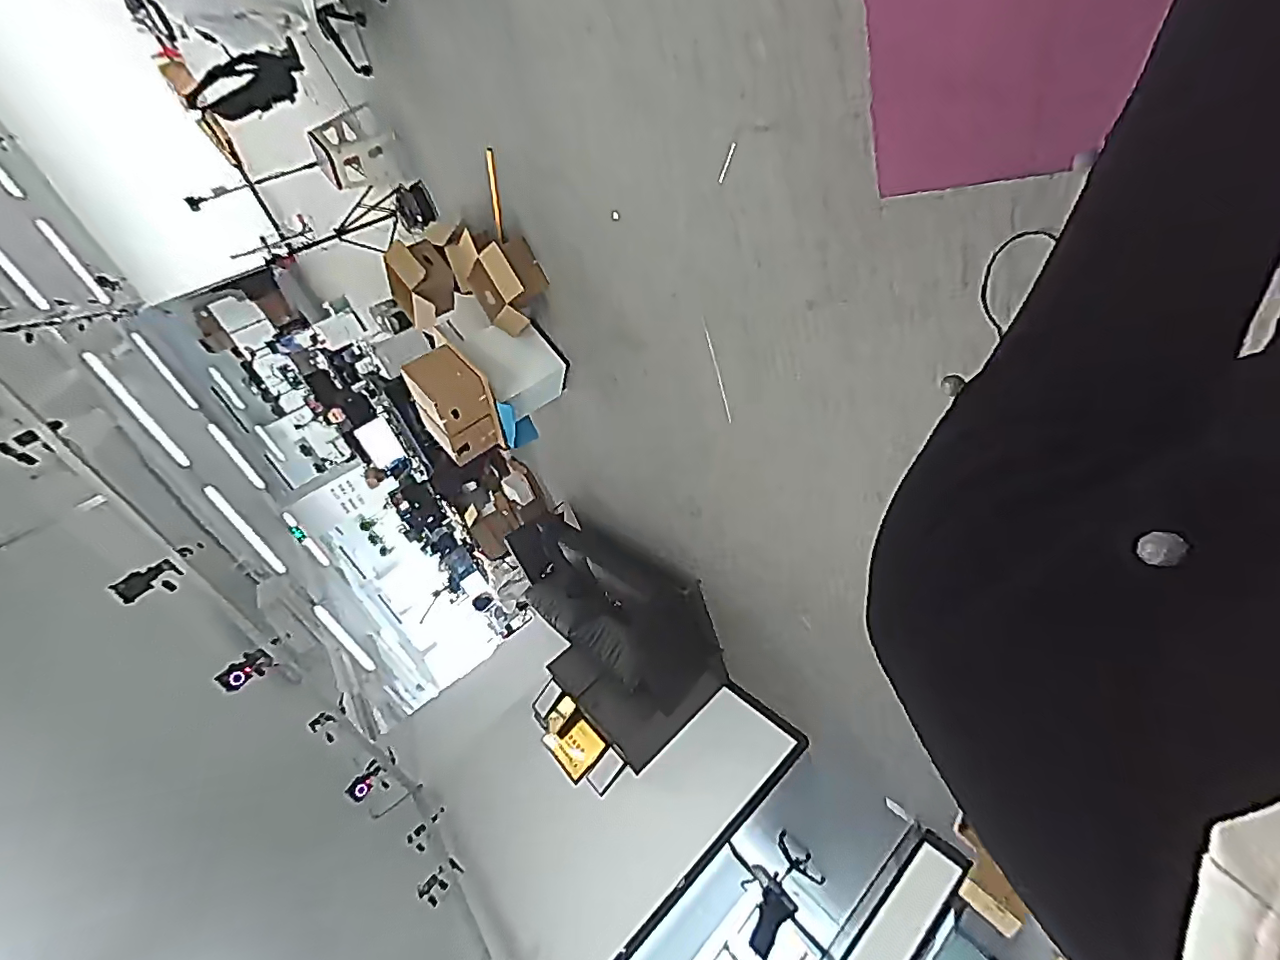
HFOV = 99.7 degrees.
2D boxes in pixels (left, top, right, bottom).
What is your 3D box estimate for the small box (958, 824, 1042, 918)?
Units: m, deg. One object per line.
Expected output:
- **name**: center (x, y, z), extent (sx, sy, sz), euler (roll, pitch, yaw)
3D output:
- **small box**: center (1.193, 1.293, 1.794), extent (0.168, 0.176, 0.179), euler (30, 147, 41)
